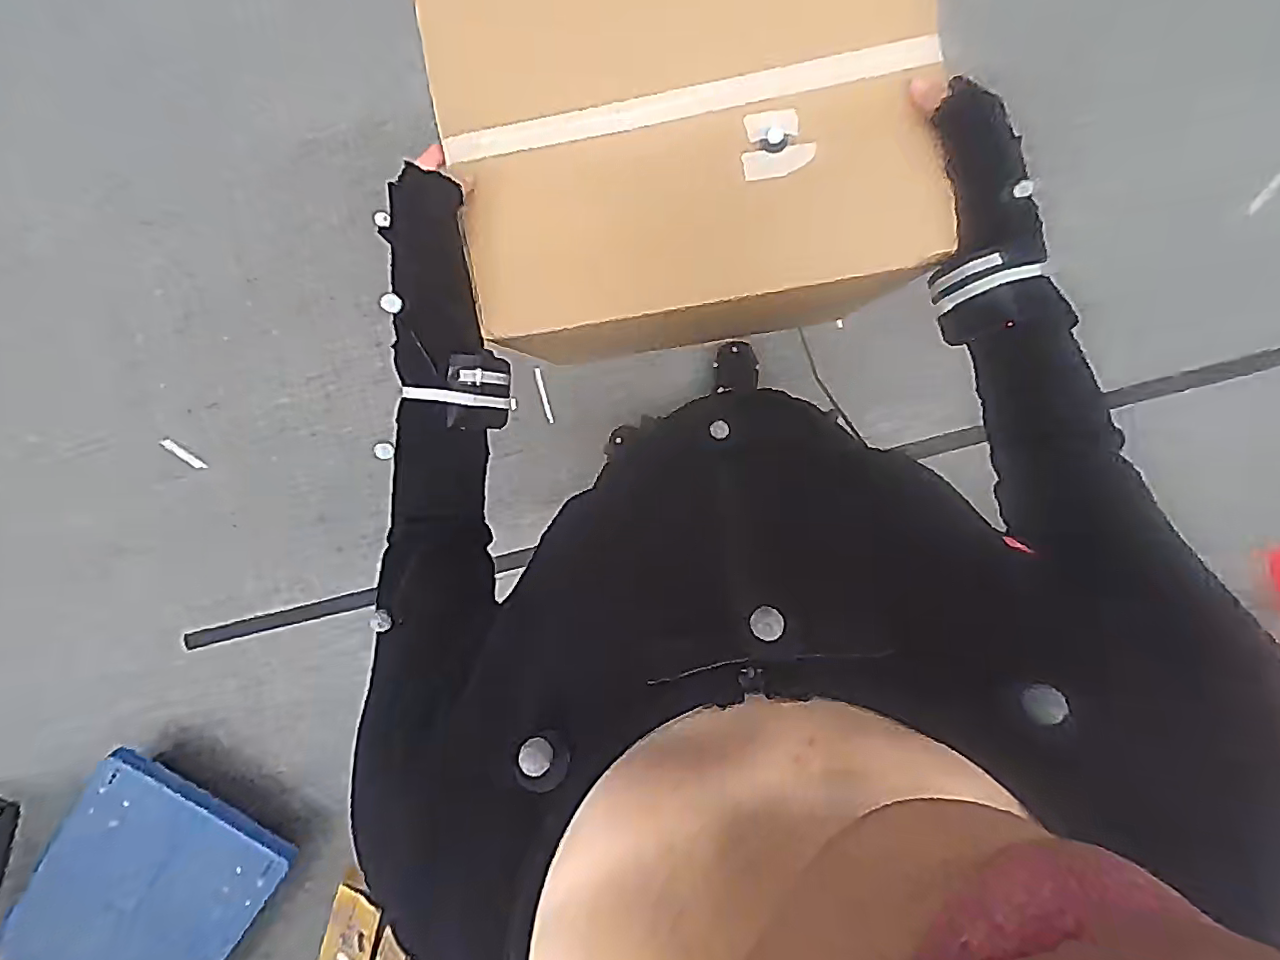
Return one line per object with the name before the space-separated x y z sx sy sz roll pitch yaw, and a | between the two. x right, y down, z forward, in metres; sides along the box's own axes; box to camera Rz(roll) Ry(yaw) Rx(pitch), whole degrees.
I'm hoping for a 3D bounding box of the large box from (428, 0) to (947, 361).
large box | 0.044 -0.331 0.596 0.408 0.320 0.320 -8 97 4
